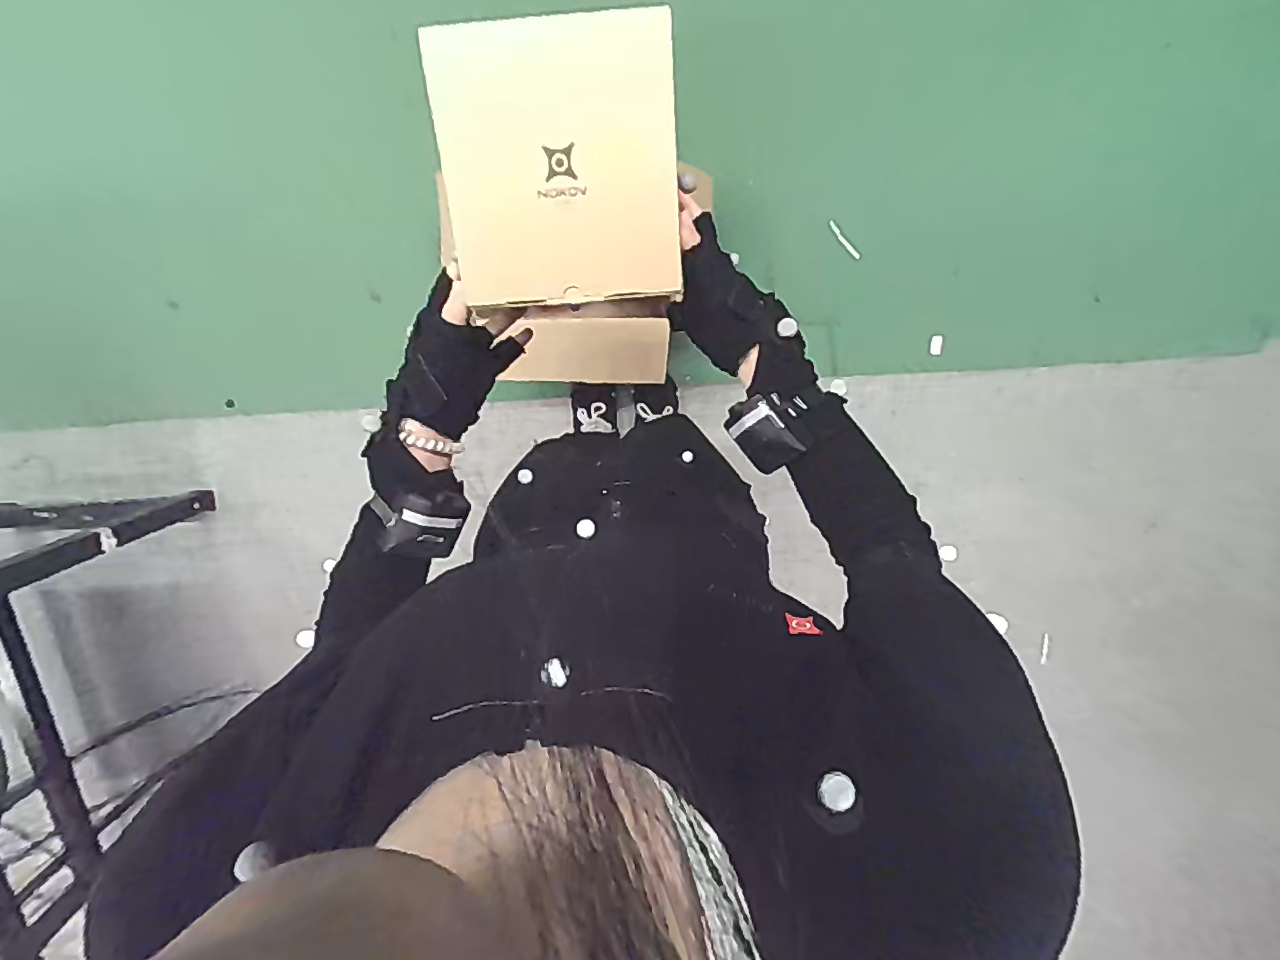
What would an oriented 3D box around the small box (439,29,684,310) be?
[{"bbox_3d":[-0.053,-0.246,0.468,0.168,0.176,0.179,-4,112,1],"label":"small box"}]
